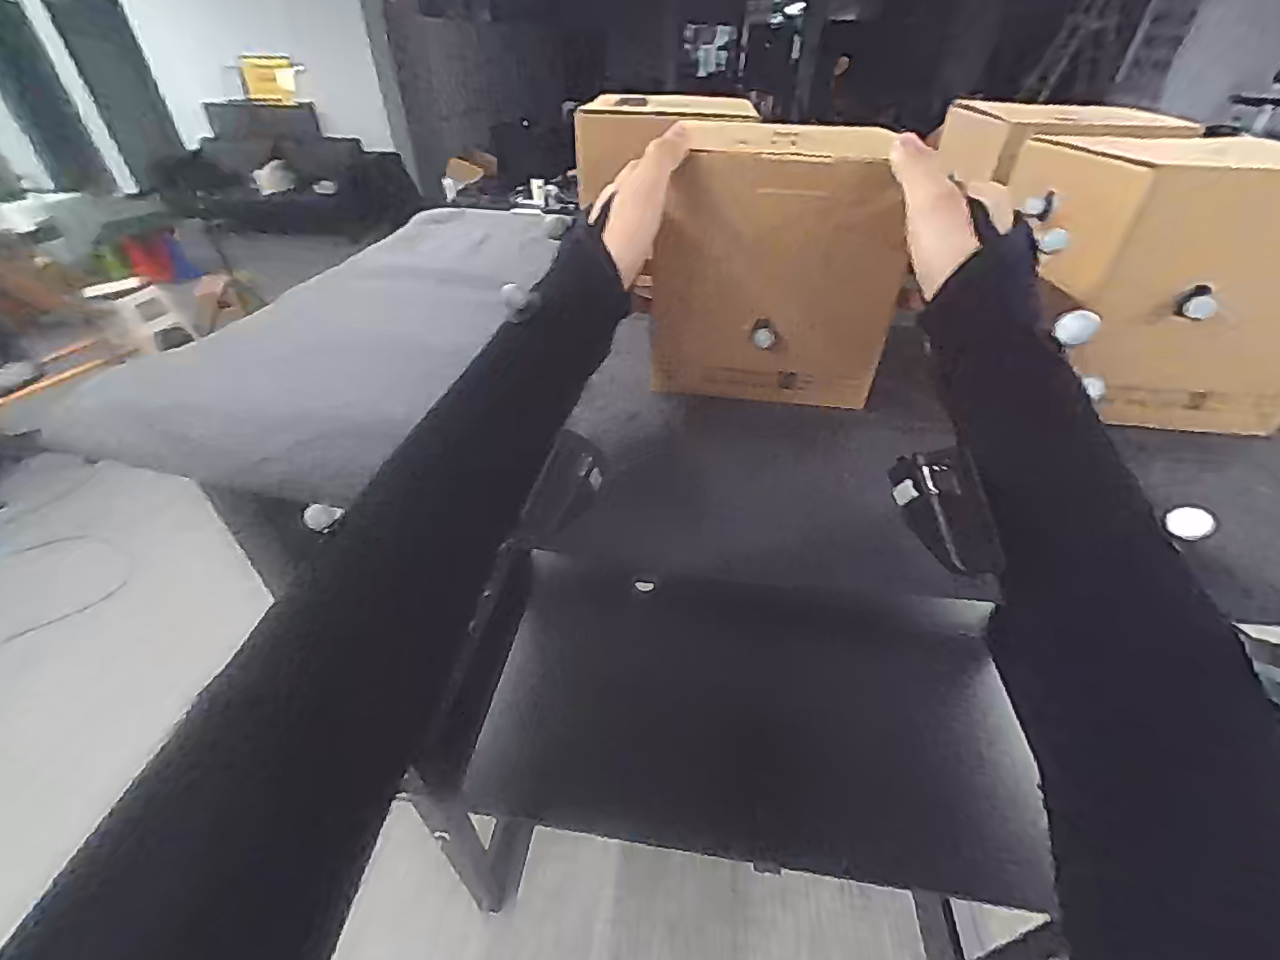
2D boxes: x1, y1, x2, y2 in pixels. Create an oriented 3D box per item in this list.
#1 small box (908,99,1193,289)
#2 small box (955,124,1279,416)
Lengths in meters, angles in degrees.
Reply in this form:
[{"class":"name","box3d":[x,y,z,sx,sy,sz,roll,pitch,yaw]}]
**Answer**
[{"class":"small box","box3d":[0.424,-0.317,0.605,0.168,0.176,0.179,5,38,5]},{"class":"small box","box3d":[0.374,-0.162,0.409,0.168,0.176,0.179,5,37,6]}]
